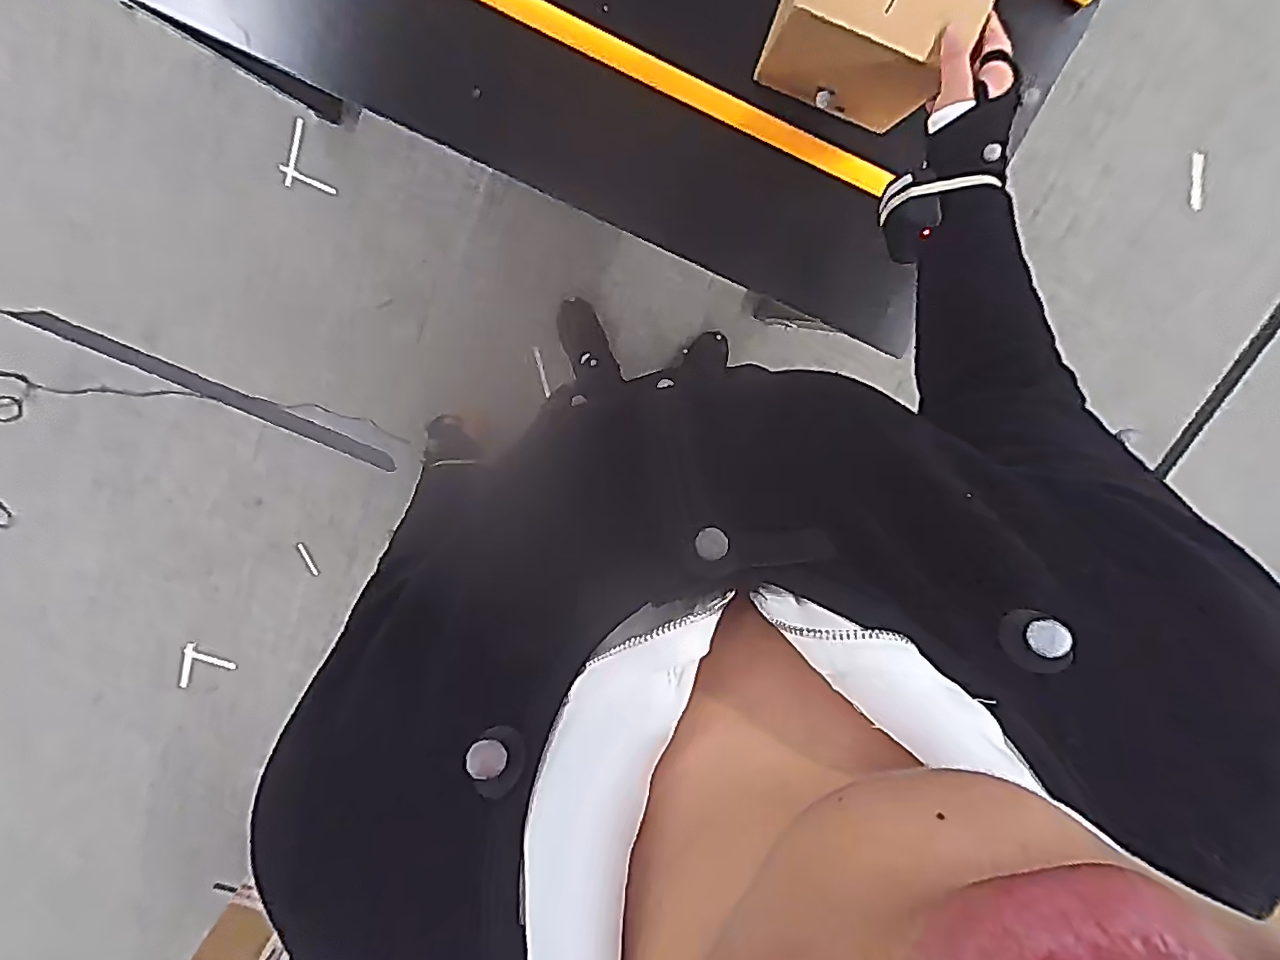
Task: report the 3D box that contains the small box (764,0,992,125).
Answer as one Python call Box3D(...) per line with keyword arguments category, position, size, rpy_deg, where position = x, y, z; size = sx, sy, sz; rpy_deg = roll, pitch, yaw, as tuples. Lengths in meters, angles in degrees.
Box3D(category="small box", position=(0.239, -0.493, 0.529), size=(0.168, 0.176, 0.179), rpy_deg=(19, 107, -6))
